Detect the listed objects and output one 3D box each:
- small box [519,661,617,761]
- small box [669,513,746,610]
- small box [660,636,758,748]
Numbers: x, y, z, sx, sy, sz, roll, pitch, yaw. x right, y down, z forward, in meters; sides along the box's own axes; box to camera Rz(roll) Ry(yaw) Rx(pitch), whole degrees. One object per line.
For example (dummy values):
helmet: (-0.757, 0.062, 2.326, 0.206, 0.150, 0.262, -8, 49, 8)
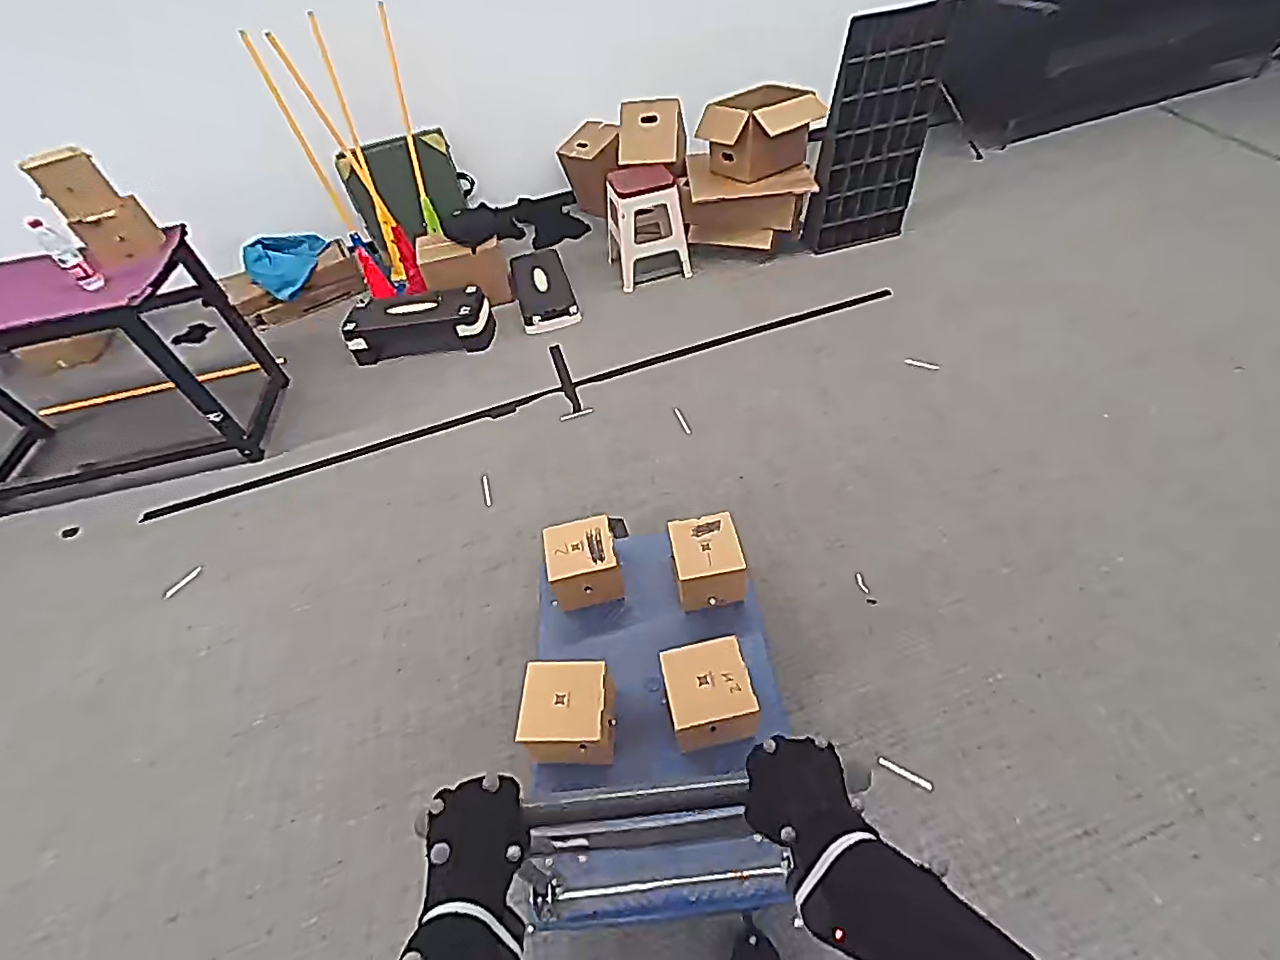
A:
small box: (-0.151, 0.516, 1.202, 0.179, 0.176, 0.168, -3, 49, 4)
small box: (0.173, 0.215, 1.414, 0.168, 0.176, 0.179, -10, 50, 0)
small box: (0.151, 0.472, 1.195, 0.179, 0.176, 0.168, -12, 49, -2)
